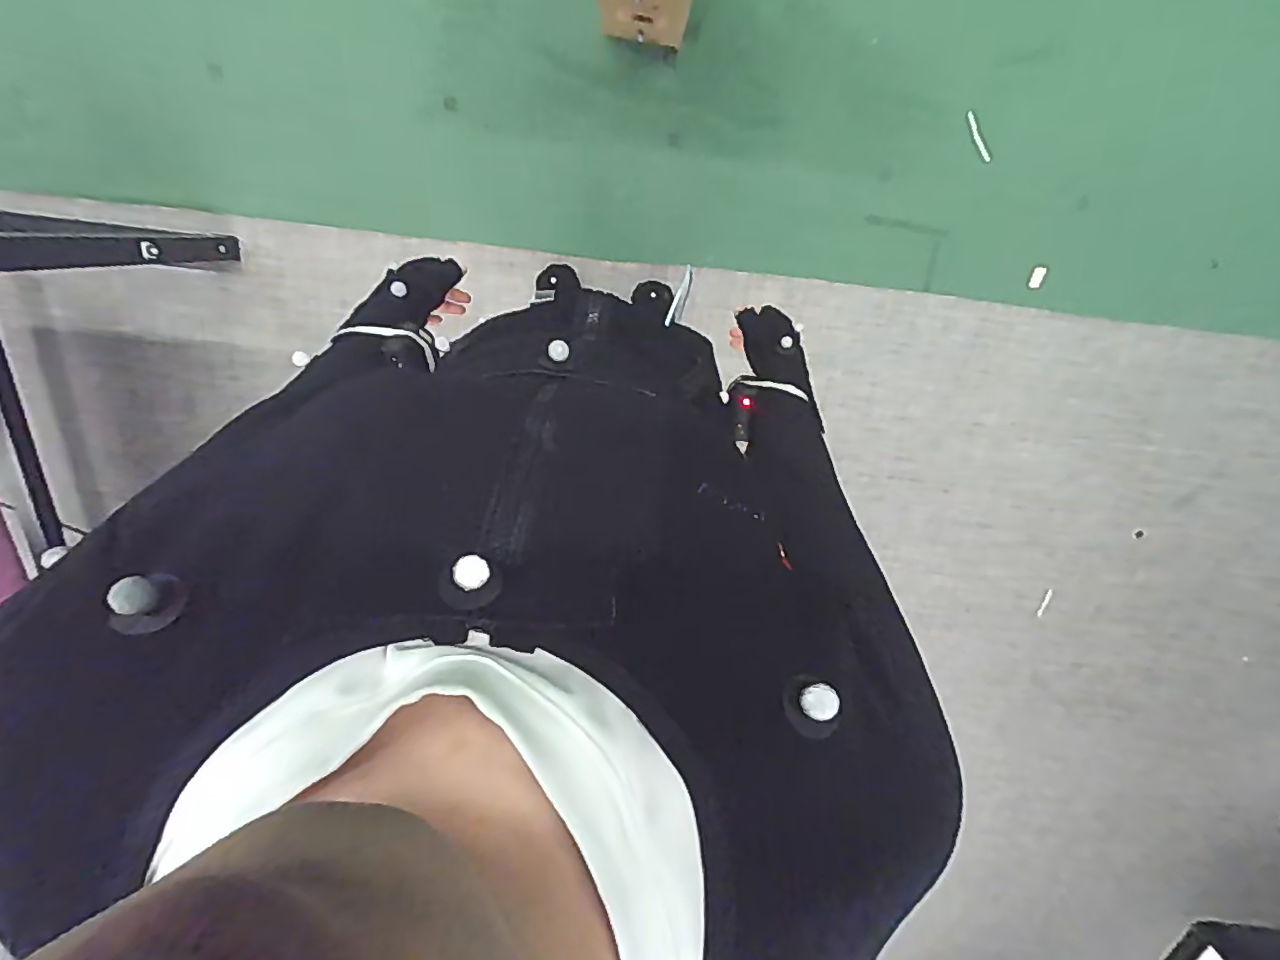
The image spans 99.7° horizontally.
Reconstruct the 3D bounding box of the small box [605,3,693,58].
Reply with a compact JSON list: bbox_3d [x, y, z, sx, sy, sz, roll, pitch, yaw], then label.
[{"bbox_3d":[0.026,-0.965,1.050,0.168,0.176,0.179,8,112,-4],"label":"small box"}]

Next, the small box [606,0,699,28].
[{"bbox_3d":[0.028,-0.903,0.900,0.168,0.176,0.179,6,113,-4],"label":"small box"}]
